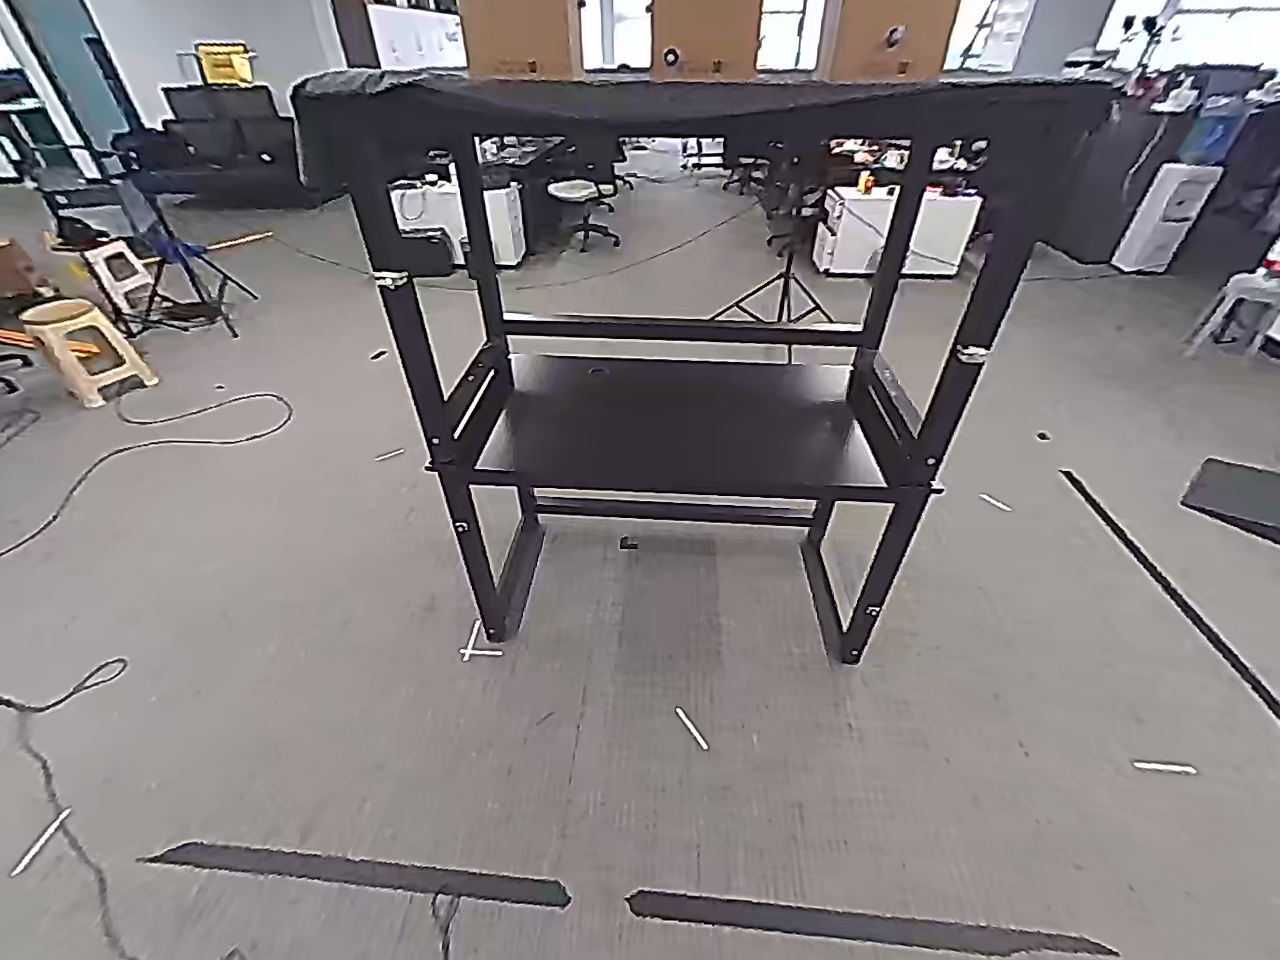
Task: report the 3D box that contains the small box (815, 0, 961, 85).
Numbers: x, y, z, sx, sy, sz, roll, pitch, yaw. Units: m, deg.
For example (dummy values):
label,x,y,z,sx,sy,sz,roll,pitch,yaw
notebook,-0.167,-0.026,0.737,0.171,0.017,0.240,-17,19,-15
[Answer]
label,x,y,z,sx,sy,sz,roll,pitch,yaw
small box,0.378,-0.719,0.834,0.168,0.176,0.179,2,38,5

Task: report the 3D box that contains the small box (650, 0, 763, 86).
label,x,y,z,sx,sy,sz,roll,pitch,yaw
small box,0.103,-0.730,0.851,0.168,0.176,0.179,3,36,3
